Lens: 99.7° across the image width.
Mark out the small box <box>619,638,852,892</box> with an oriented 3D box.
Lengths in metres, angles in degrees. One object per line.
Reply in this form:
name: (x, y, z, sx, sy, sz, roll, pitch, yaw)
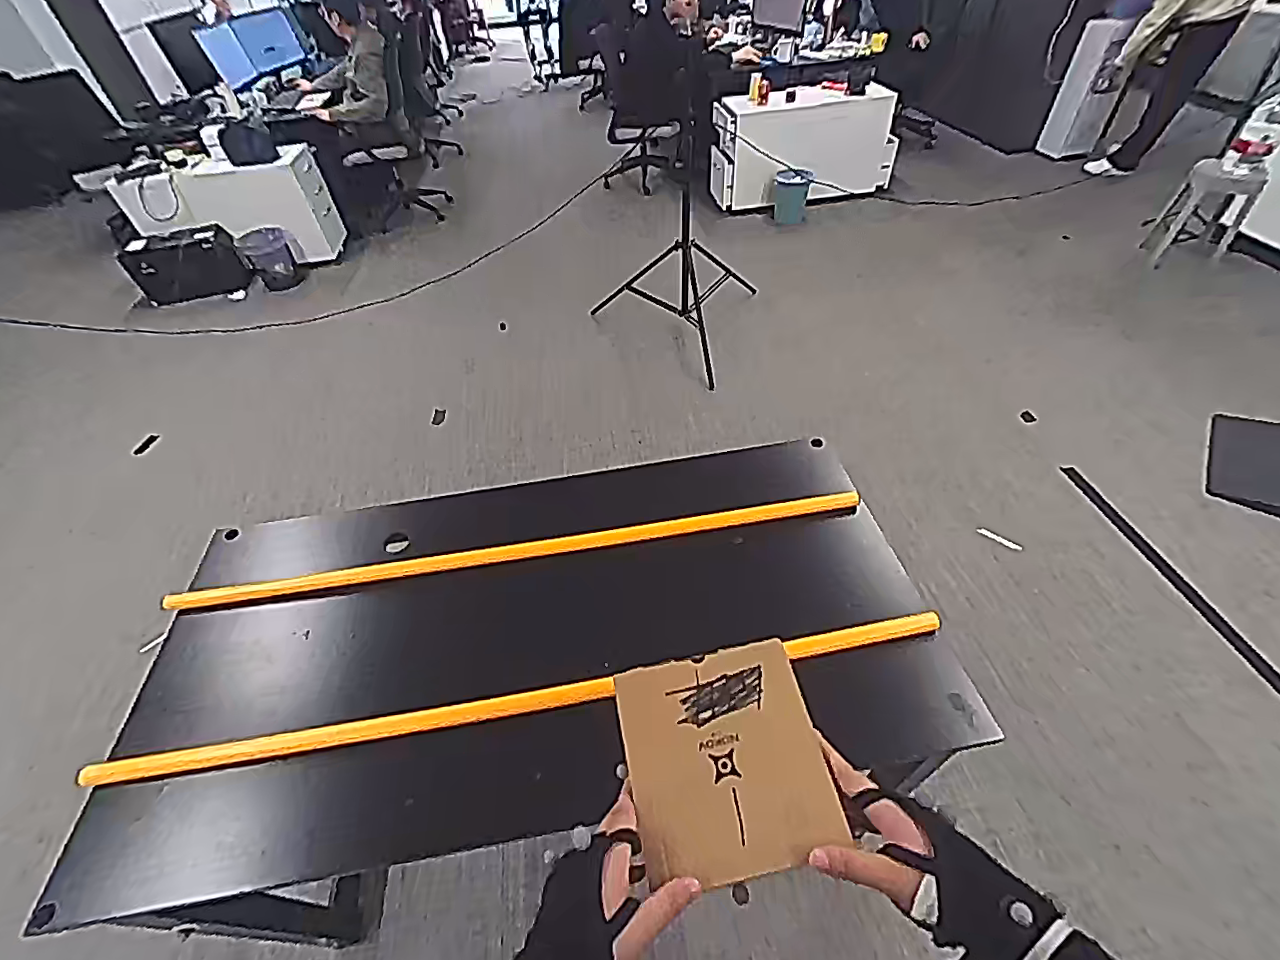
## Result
small box: (0.077, 0.283, 0.532, 0.168, 0.176, 0.179, -11, 53, -3)
